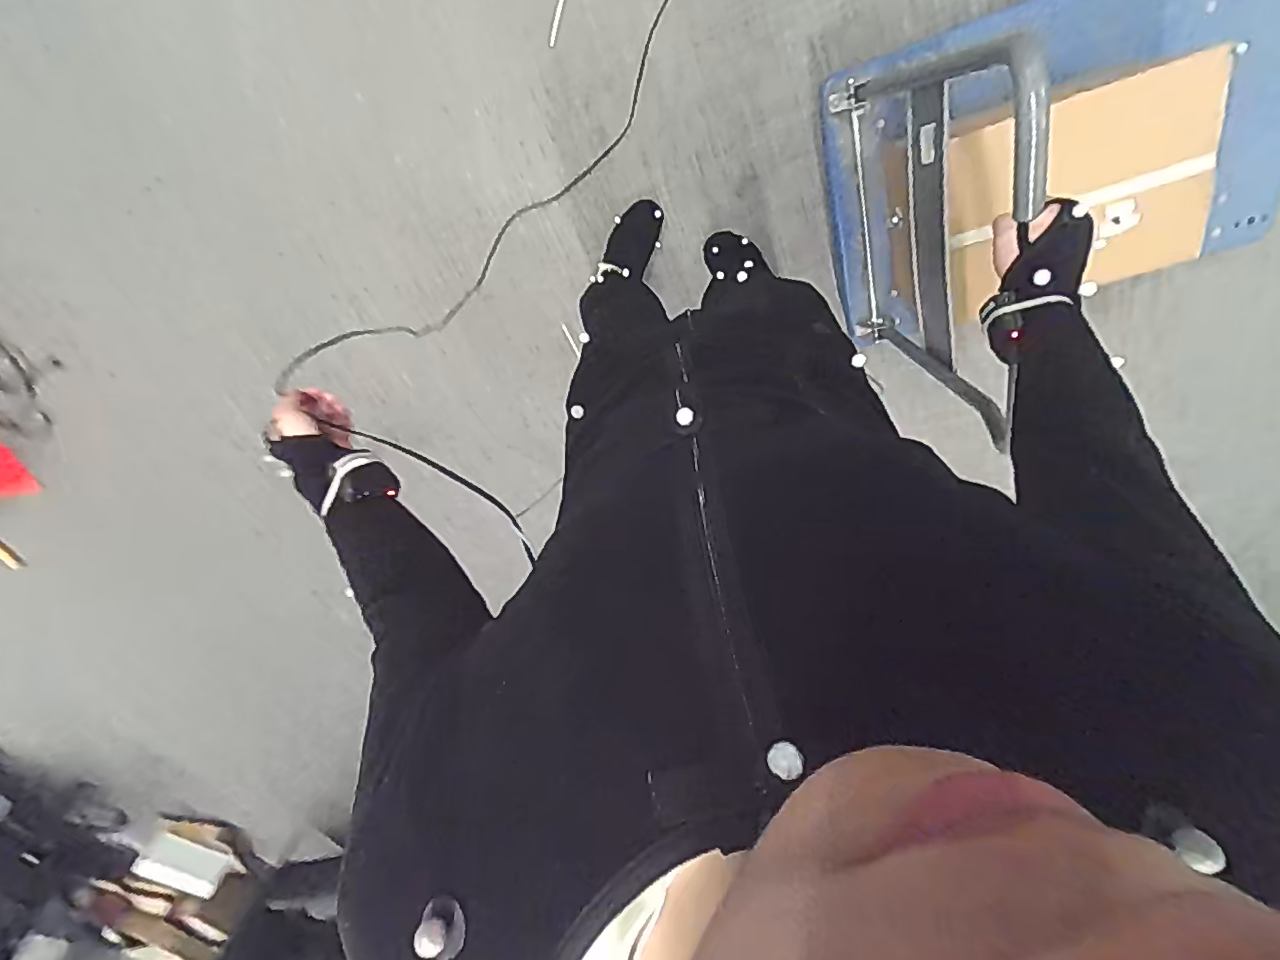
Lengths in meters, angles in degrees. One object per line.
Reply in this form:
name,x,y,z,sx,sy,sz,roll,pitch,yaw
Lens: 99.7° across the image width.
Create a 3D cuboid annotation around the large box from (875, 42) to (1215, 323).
large box,0.719,-0.544,1.035,0.408,0.320,0.320,-15,119,12
